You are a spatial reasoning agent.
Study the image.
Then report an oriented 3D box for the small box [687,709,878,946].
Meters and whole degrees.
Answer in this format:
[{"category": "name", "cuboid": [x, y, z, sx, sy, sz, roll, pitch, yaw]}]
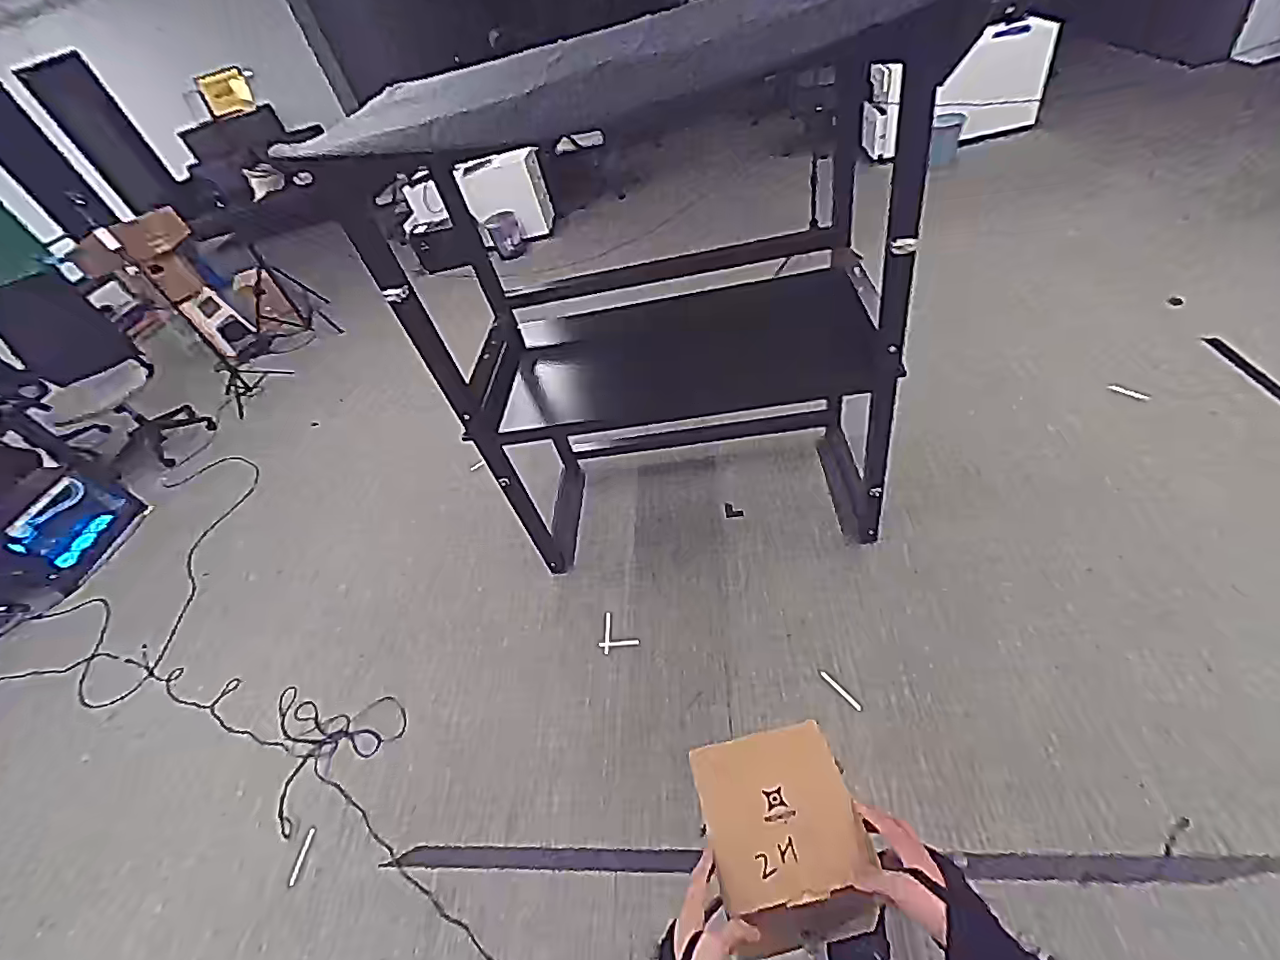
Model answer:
[{"category": "small box", "cuboid": [0.161, 0.416, 0.655, 0.168, 0.176, 0.179, -13, 36, -2]}]
